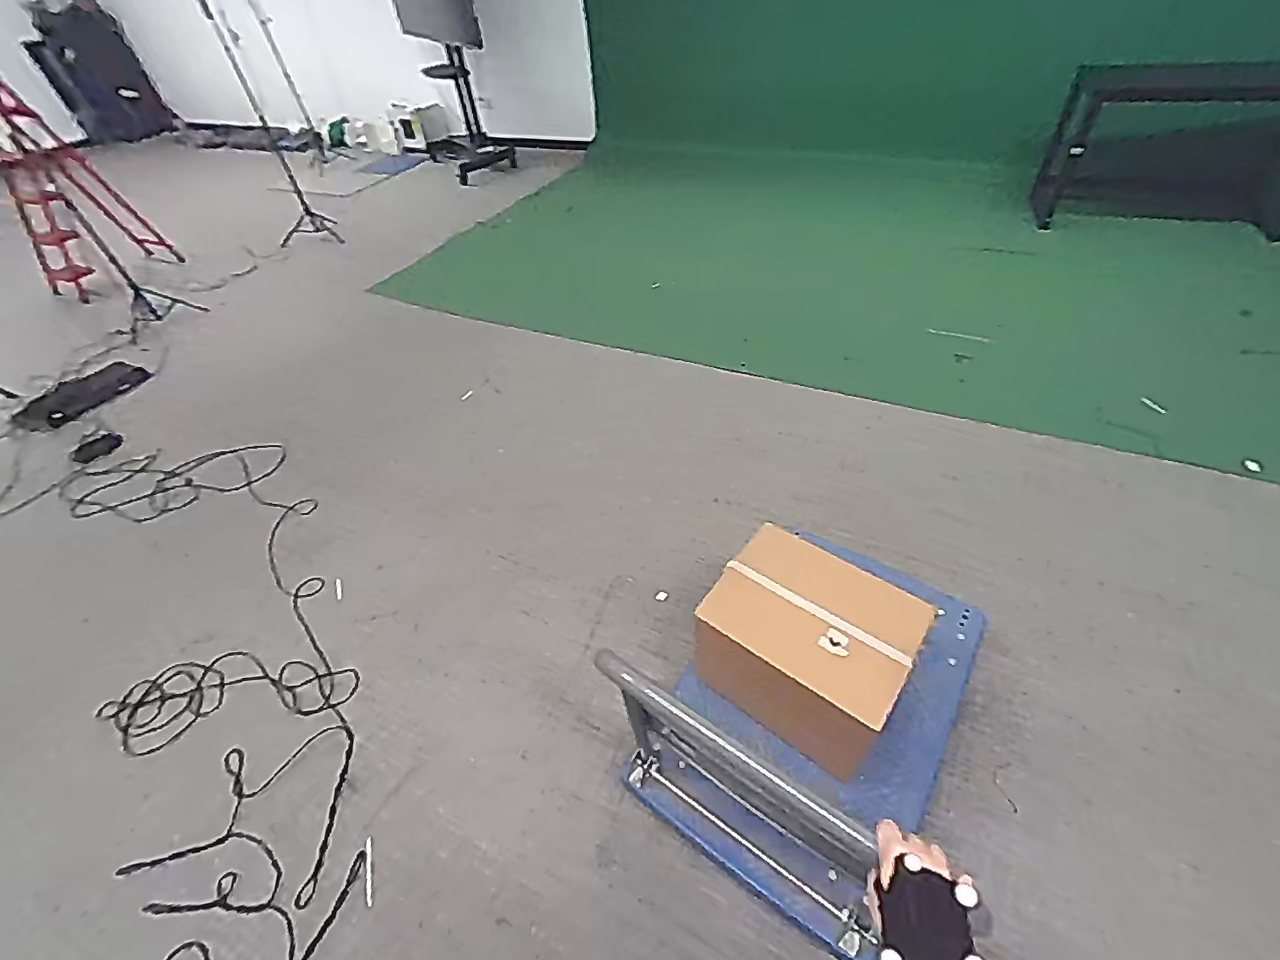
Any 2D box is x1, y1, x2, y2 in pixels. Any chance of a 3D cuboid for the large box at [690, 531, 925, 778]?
[{"bbox_3d":[0.363,0.394,1.259,0.408,0.320,0.320,28,54,27],"label":"large box"}]
